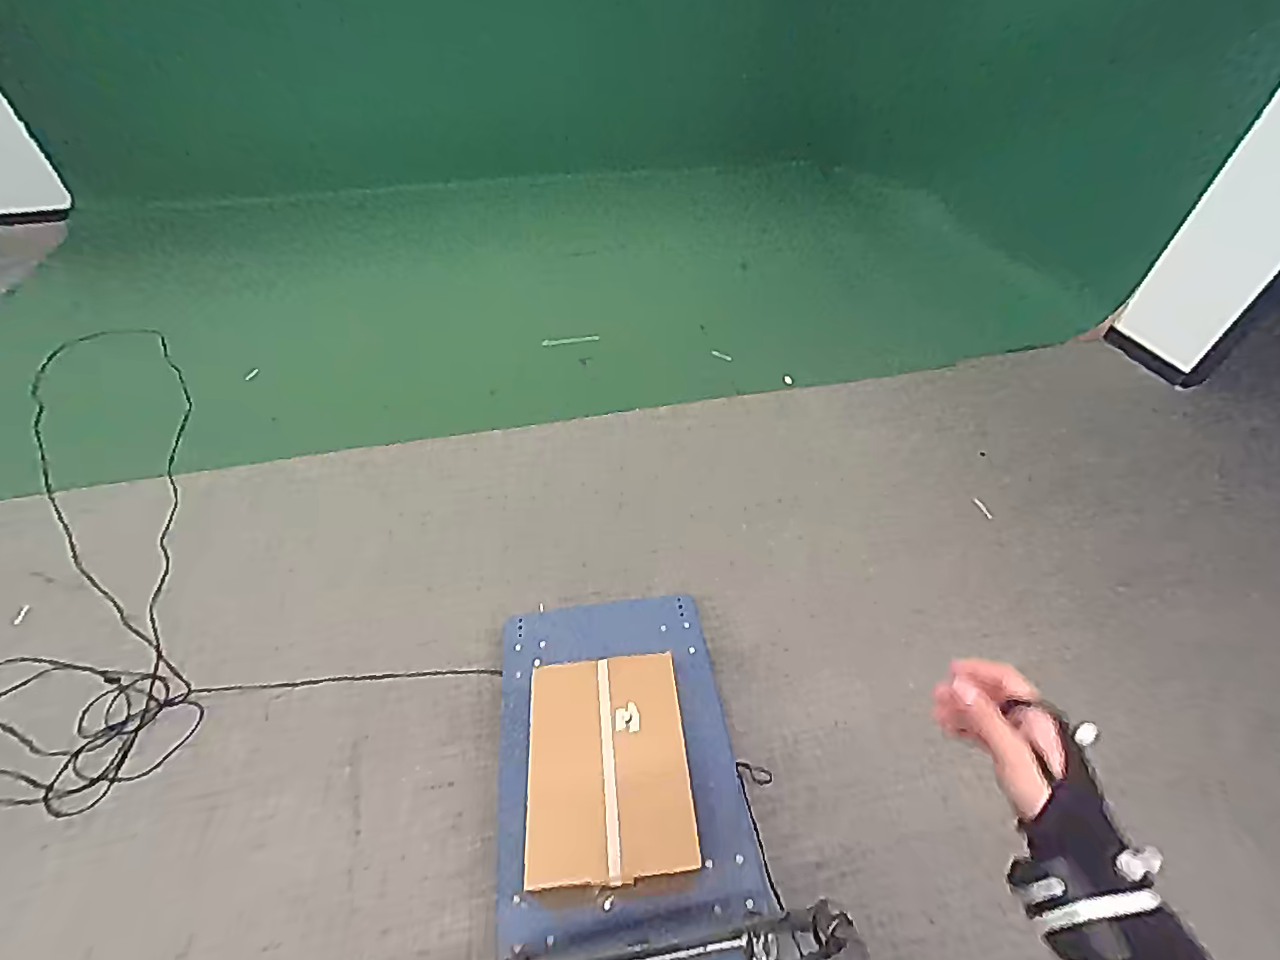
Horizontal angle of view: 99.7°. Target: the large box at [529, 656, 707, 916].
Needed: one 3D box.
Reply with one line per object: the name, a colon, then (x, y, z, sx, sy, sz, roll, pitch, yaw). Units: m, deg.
large box: (-0.056, 0.650, 1.166, 0.320, 0.320, 0.408, -4, 46, -4)
